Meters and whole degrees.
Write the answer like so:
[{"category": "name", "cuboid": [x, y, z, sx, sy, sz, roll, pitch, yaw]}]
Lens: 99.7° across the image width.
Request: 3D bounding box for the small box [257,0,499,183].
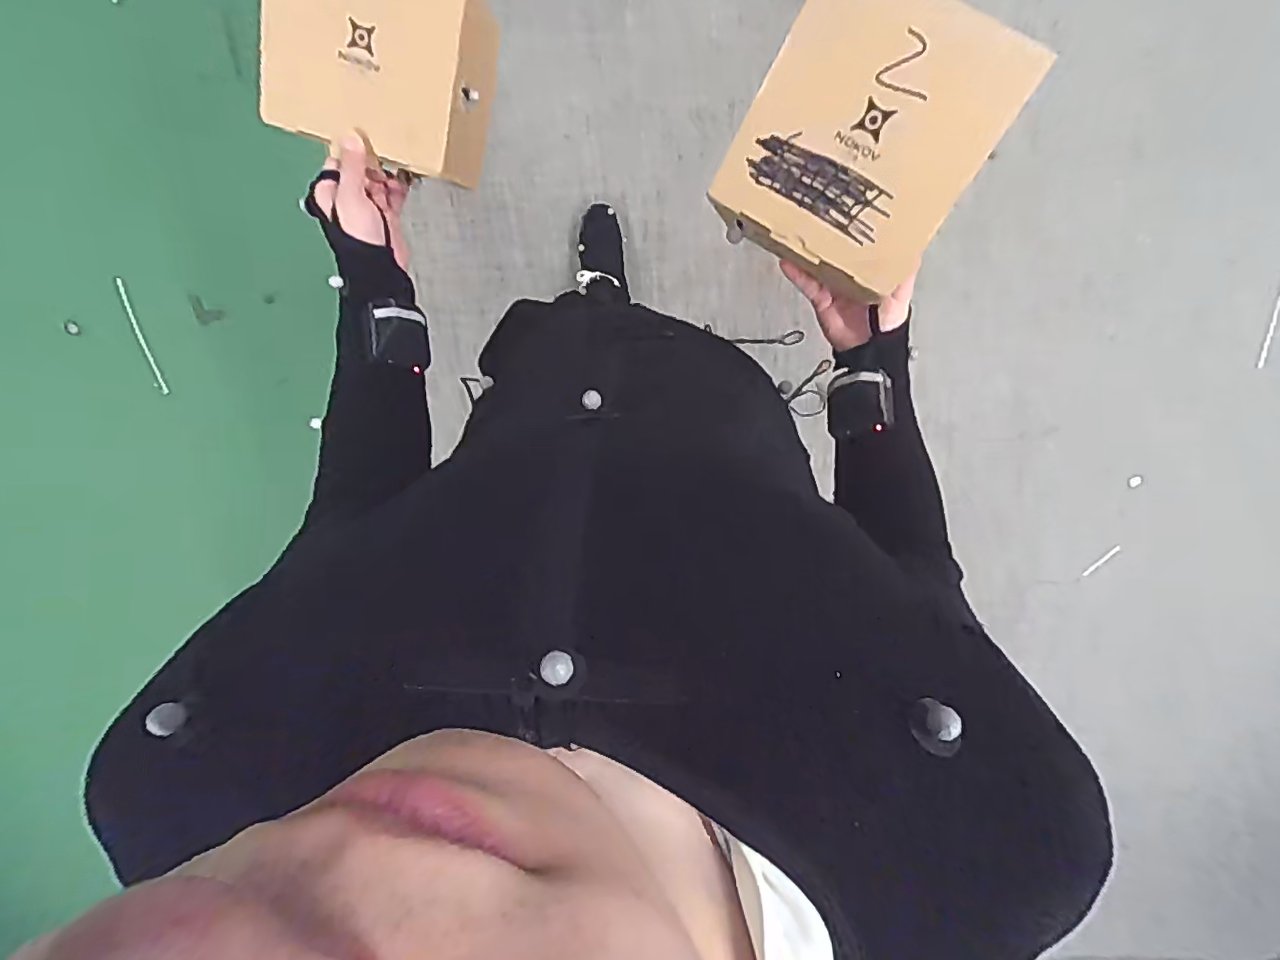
[{"category": "small box", "cuboid": [-0.251, -0.425, 0.550, 0.168, 0.176, 0.179, 15, 111, -10]}]
